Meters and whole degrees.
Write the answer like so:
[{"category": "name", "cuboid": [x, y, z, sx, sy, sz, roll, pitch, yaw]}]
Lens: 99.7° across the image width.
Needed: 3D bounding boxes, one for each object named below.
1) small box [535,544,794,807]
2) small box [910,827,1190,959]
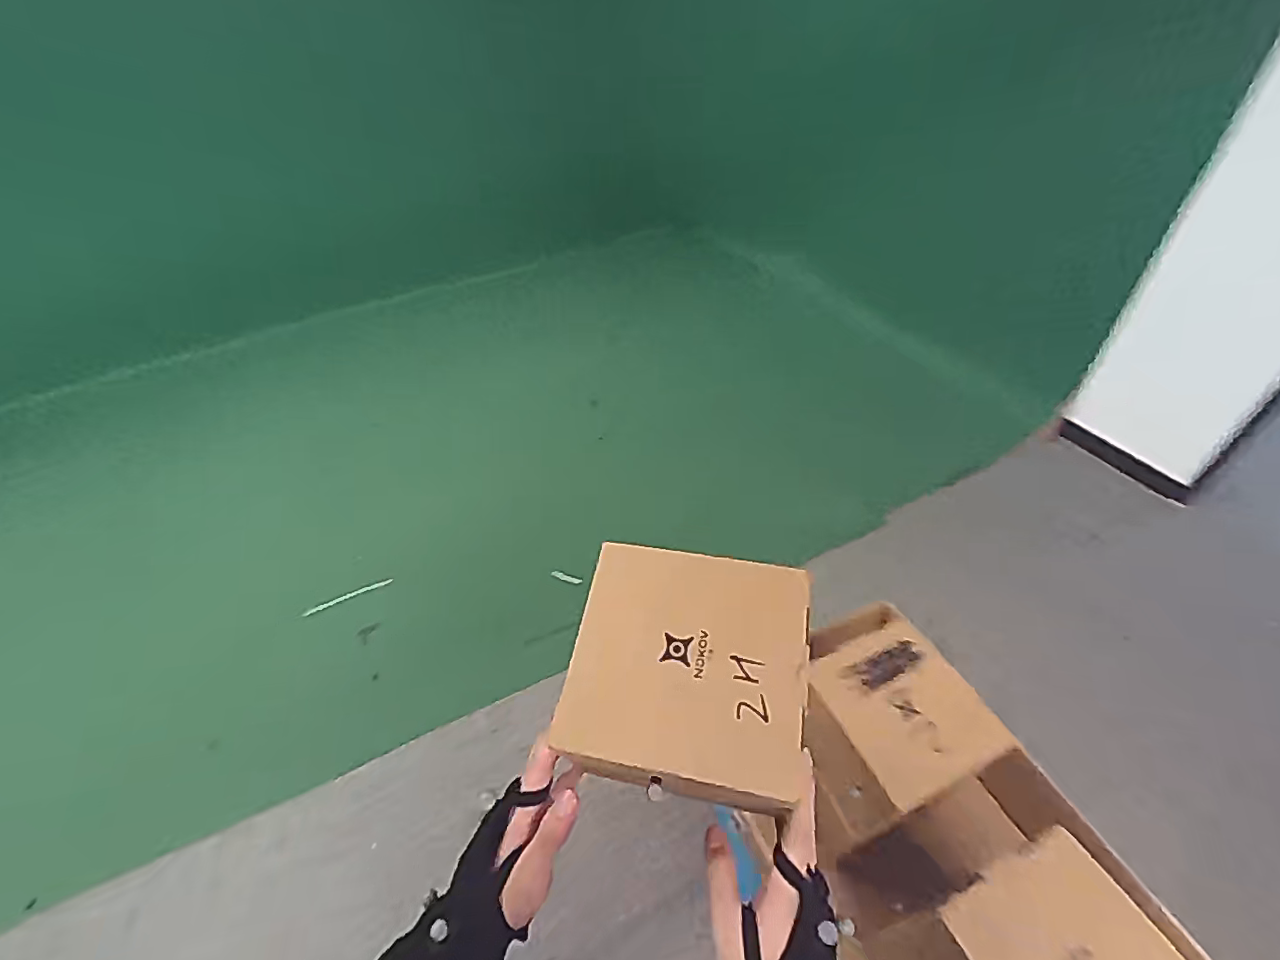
[{"category": "small box", "cuboid": [0.033, 0.176, 0.476, 0.179, 0.176, 0.168, 6, 57, 11]}, {"category": "small box", "cuboid": [0.394, 0.481, 0.515, 0.168, 0.176, 0.179, -21, 45, -12]}]
